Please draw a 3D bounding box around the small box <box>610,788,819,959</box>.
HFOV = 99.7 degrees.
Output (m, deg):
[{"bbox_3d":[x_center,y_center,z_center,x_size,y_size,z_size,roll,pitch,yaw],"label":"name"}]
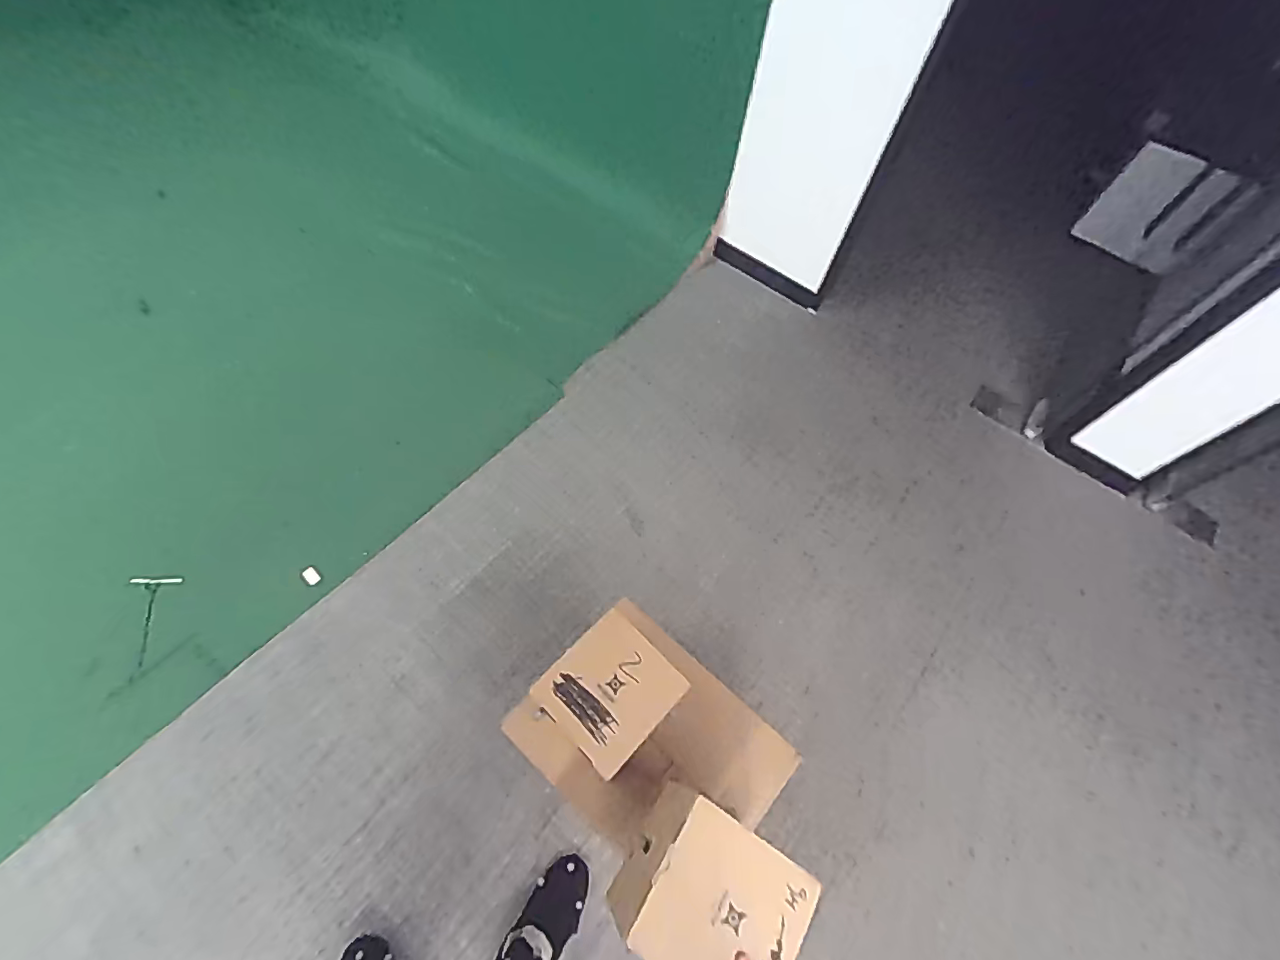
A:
[{"bbox_3d":[0.079,0.508,0.667,0.179,0.176,0.168,34,65,7],"label":"small box"}]
